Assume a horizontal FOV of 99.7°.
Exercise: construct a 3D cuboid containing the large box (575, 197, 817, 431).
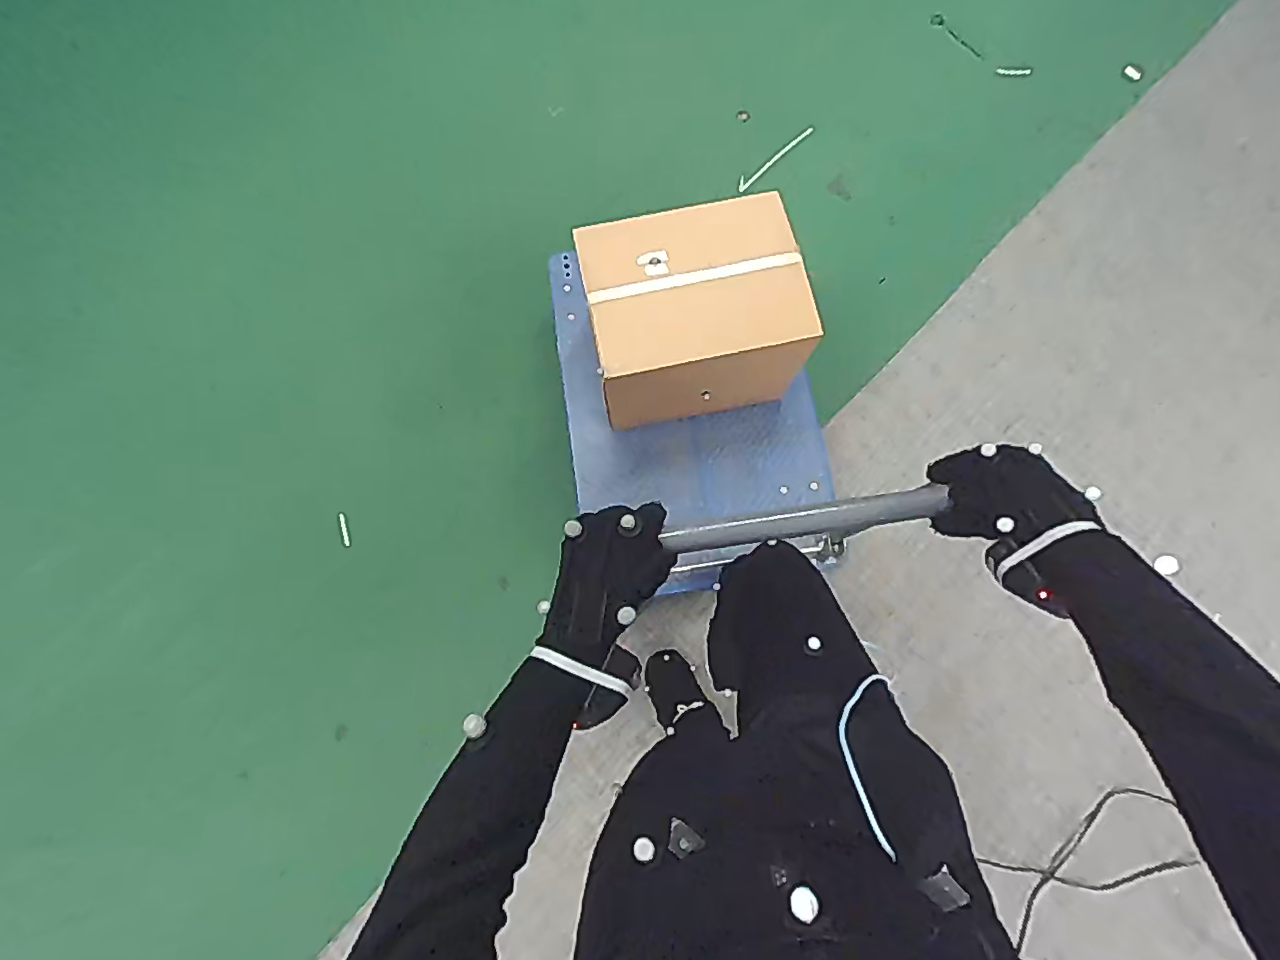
[{"bbox_3d":[0.104,-0.331,1.157,0.408,0.320,0.320,-13,76,-1],"label":"large box"}]
